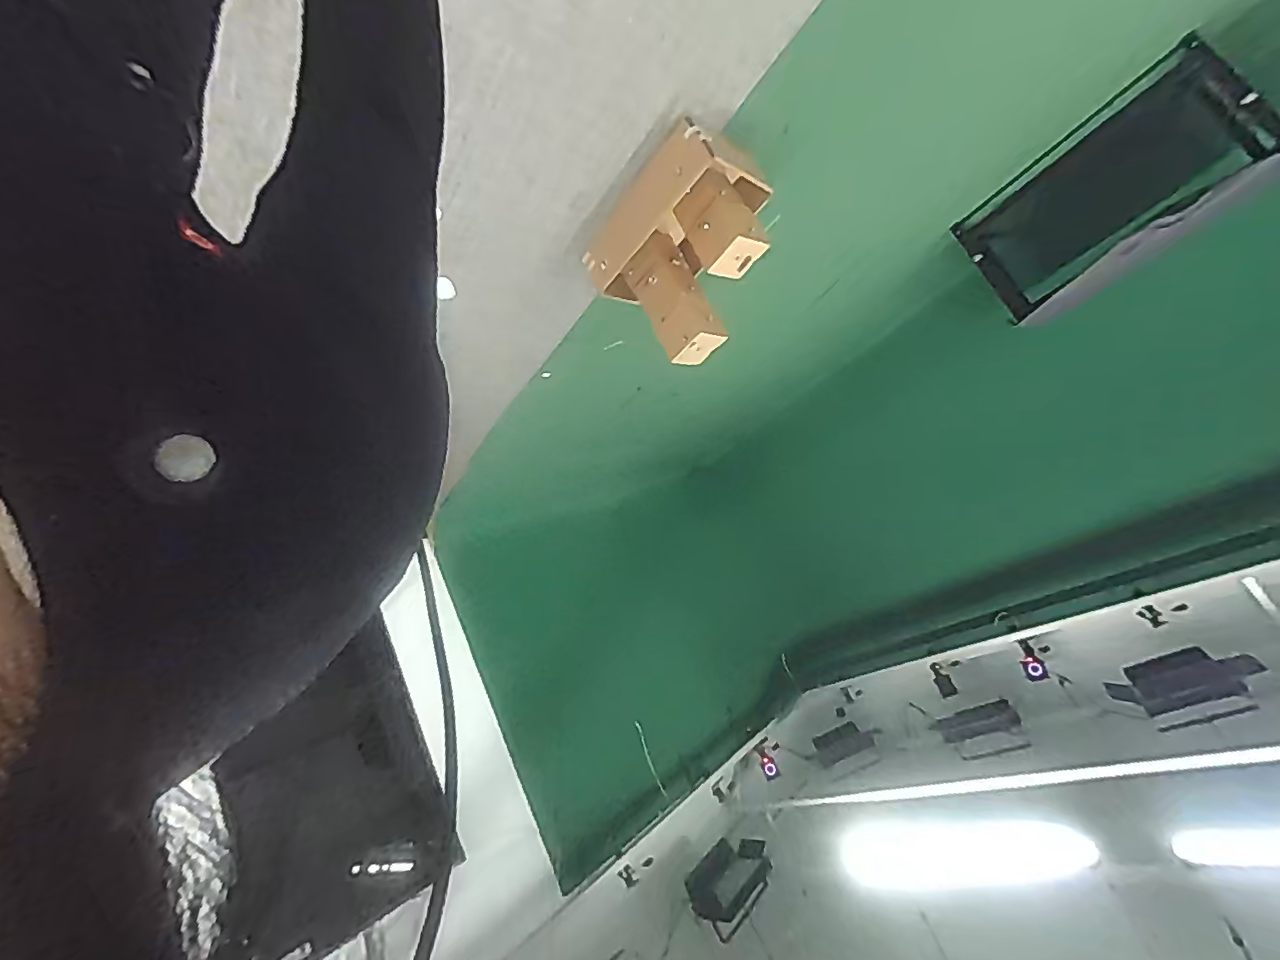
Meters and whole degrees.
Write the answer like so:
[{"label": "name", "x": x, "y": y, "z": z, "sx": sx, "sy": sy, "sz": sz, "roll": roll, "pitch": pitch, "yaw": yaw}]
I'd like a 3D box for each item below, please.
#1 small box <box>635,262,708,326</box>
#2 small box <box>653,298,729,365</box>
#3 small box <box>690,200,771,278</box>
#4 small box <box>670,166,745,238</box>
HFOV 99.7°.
[{"label": "small box", "x": 0.115, "y": -0.677, "z": 1.998, "sx": 0.179, "sy": 0.176, "sz": 0.168, "roll": -5, "pitch": 154, "yaw": -48}, {"label": "small box", "x": 0.183, "y": -0.534, "z": 1.954, "sx": 0.179, "sy": 0.176, "sz": 0.168, "roll": -10, "pitch": 157, "yaw": -46}, {"label": "small box", "x": 0.303, "y": -0.814, "z": 1.832, "sx": 0.179, "sy": 0.176, "sz": 0.168, "roll": -10, "pitch": 159, "yaw": -41}, {"label": "small box", "x": 0.240, "y": -0.957, "z": 1.888, "sx": 0.179, "sy": 0.176, "sz": 0.168, "roll": -10, "pitch": 159, "yaw": -43}]
